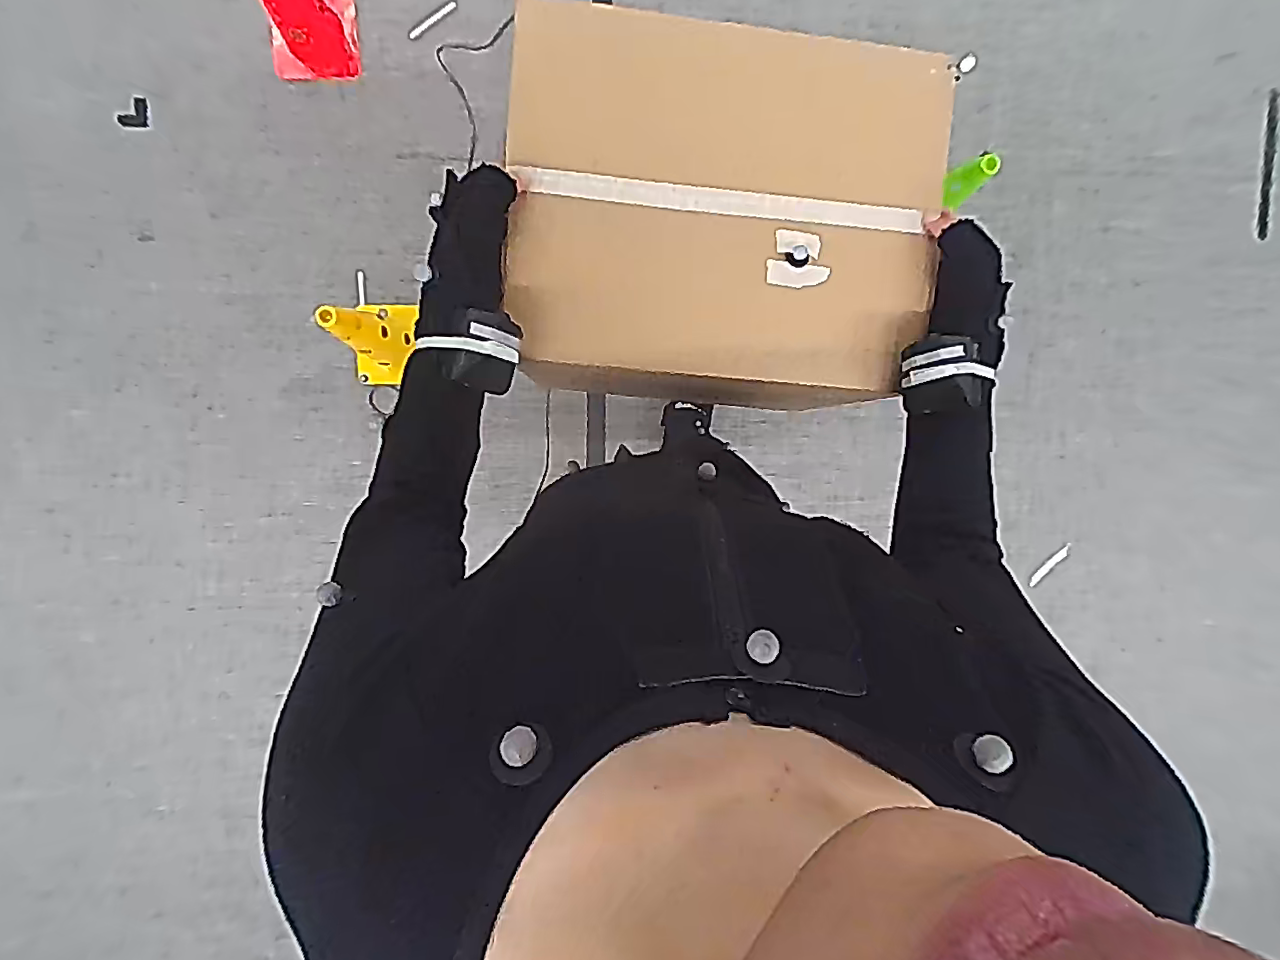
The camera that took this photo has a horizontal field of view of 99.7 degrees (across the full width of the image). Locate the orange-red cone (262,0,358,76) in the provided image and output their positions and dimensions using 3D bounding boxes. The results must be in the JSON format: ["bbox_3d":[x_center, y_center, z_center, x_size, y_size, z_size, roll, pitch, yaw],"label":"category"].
[{"bbox_3d":[-0.778,-1.059,1.133,0.198,0.360,0.199,-2,97,-2],"label":"orange-red cone"}]

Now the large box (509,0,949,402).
[{"bbox_3d":[0.071,-0.271,0.648,0.408,0.320,0.320,4,94,-5],"label":"large box"}]
